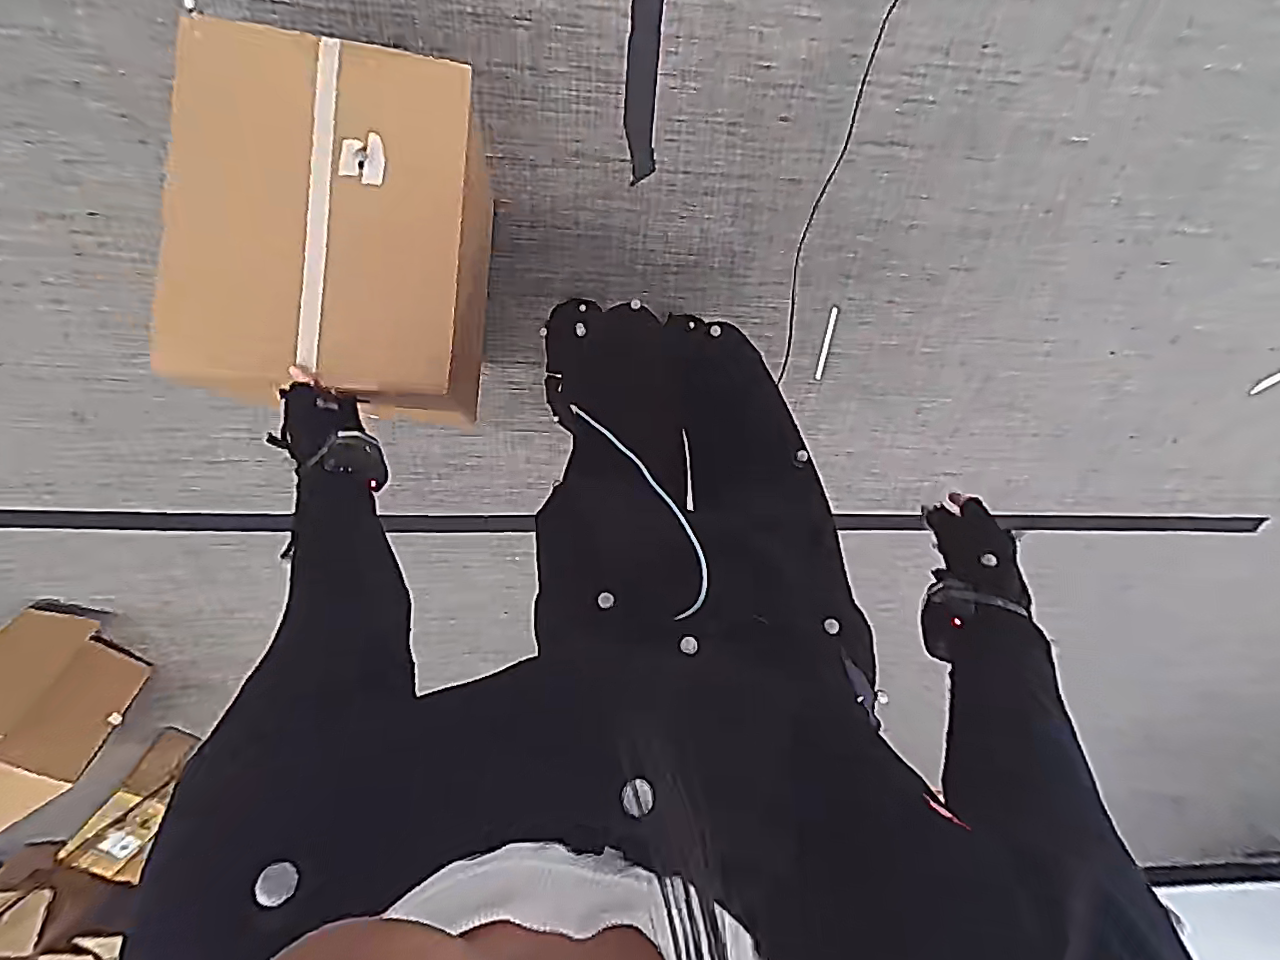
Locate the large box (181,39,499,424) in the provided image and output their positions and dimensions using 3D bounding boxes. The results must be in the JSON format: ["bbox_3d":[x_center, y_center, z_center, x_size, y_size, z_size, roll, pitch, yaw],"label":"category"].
[{"bbox_3d":[-0.387,-0.304,0.791,0.320,0.320,0.408,4,89,-10],"label":"large box"}]
